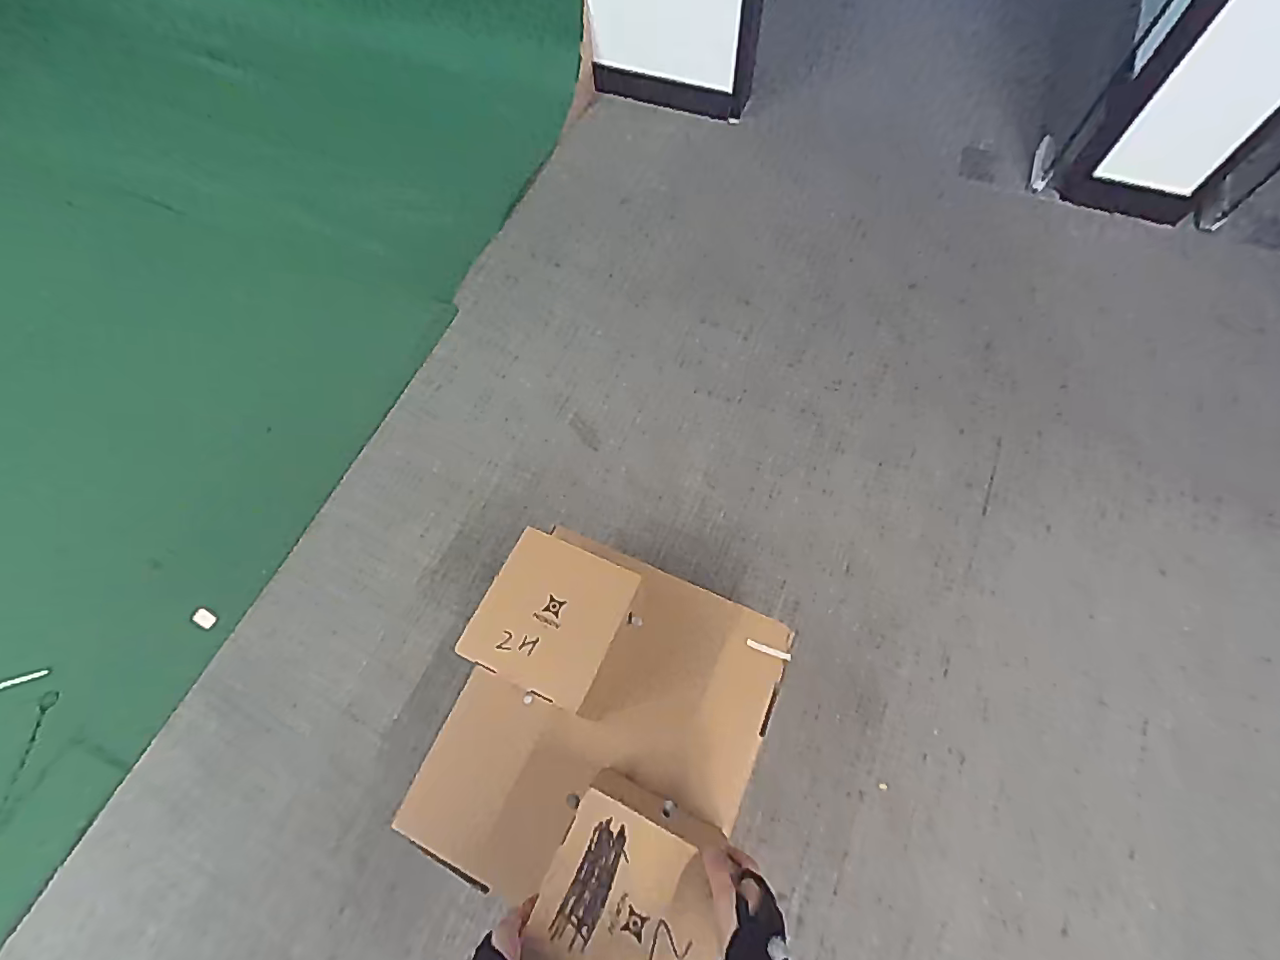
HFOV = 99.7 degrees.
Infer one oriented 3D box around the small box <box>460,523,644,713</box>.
[{"bbox_3d":[-0.103,0.189,0.721,0.168,0.176,0.179,22,67,12],"label":"small box"}]
